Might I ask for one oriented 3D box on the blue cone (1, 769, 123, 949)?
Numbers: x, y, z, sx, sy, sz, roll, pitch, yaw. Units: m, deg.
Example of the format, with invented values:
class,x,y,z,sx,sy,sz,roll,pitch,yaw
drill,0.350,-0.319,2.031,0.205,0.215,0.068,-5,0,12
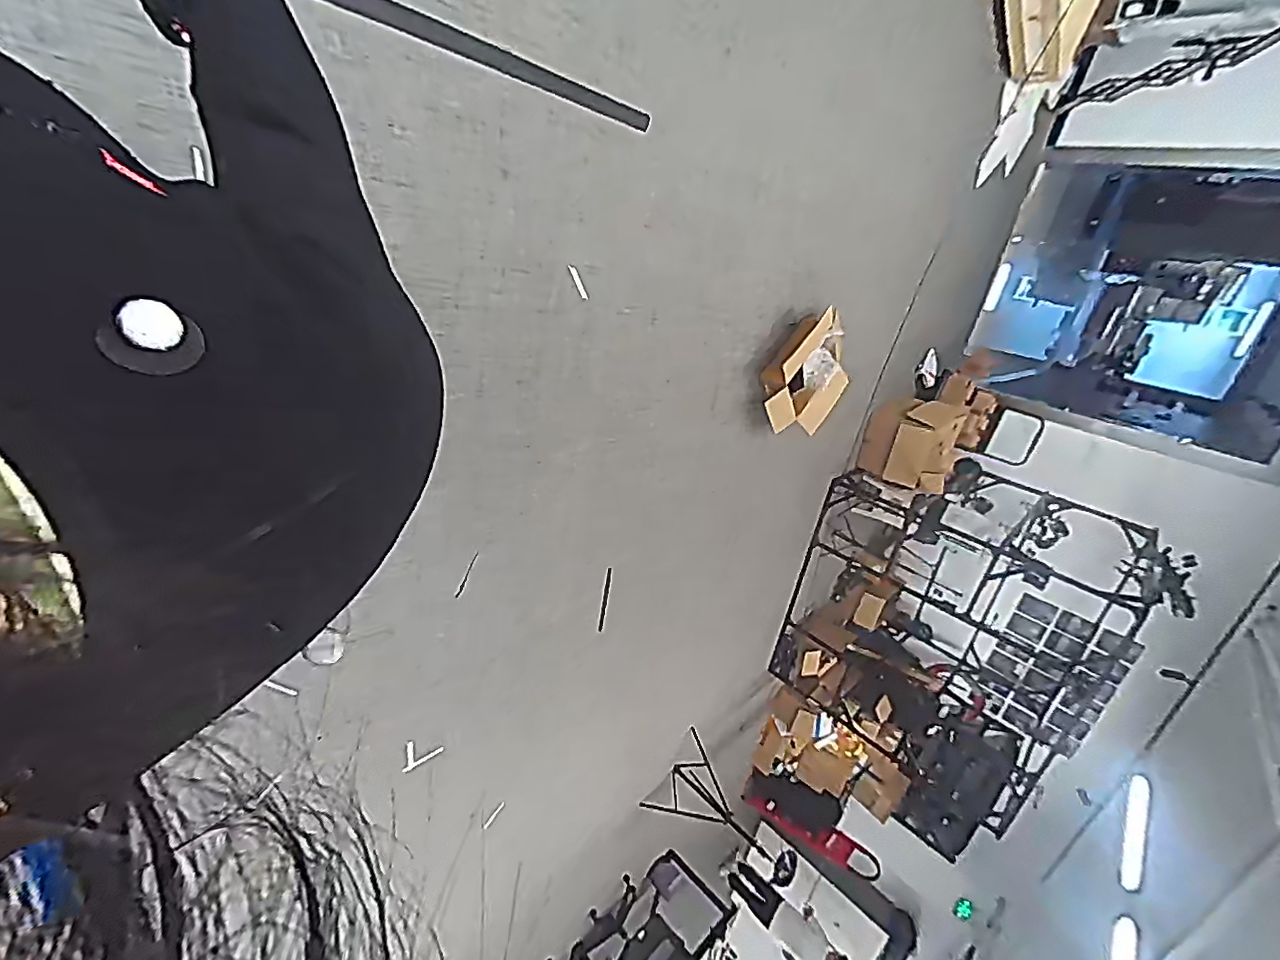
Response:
class,x,y,z,sx,sy,sz,roll,pitch,yaw
blue cone,-1.274,0.872,1.212,0.193,0.380,0.192,-10,120,-46
